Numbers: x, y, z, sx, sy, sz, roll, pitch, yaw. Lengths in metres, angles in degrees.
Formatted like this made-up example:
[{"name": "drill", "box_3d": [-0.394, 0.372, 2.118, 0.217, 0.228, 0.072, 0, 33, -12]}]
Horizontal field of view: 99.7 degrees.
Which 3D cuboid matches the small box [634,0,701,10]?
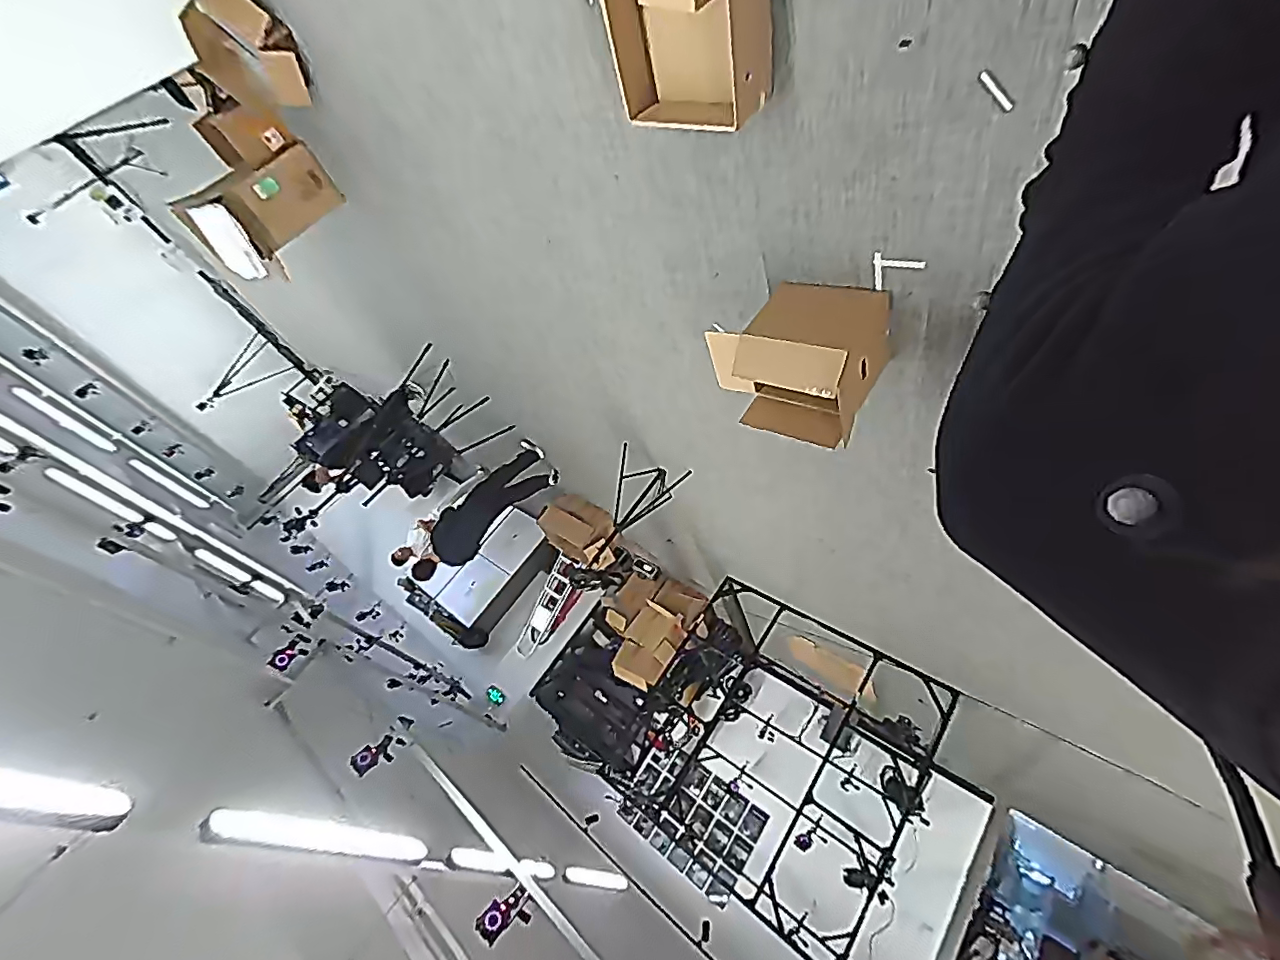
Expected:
[{"name": "small box", "box_3d": [0.090, -1.262, 1.280, 0.179, 0.176, 0.168, 29, 158, 22]}]
